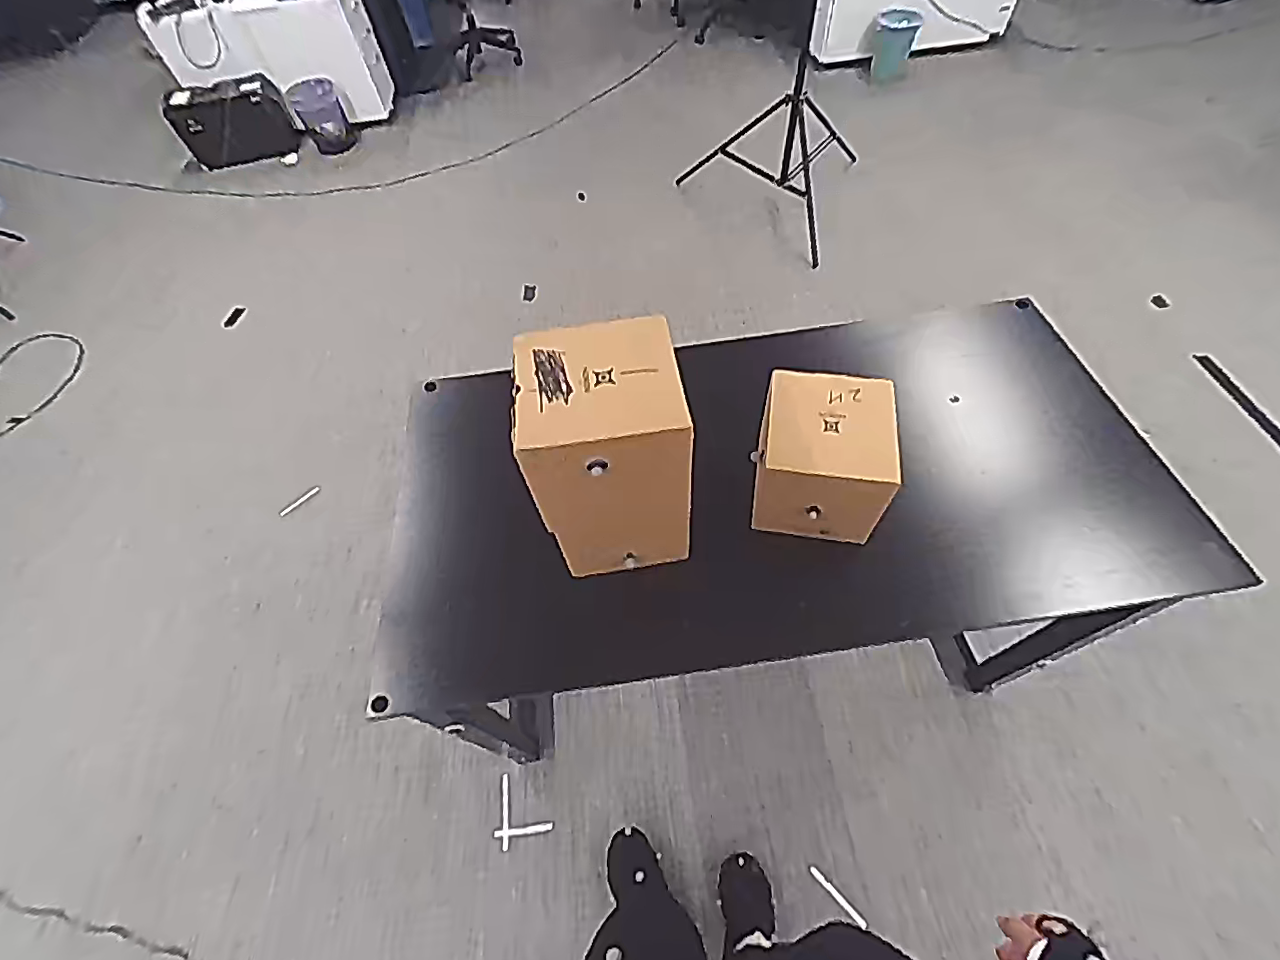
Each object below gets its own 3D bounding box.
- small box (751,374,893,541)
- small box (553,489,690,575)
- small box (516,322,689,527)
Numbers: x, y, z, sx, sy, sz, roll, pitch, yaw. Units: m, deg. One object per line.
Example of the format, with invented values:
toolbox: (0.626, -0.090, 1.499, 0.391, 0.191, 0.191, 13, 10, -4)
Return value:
small box: (0.258, -0.028, 0.795, 0.168, 0.176, 0.179, 8, 57, 9)
small box: (-0.031, 0.022, 0.786, 0.179, 0.176, 0.168, -9, 56, -2)
small box: (-0.040, -0.059, 0.641, 0.179, 0.176, 0.168, -8, 57, -1)
